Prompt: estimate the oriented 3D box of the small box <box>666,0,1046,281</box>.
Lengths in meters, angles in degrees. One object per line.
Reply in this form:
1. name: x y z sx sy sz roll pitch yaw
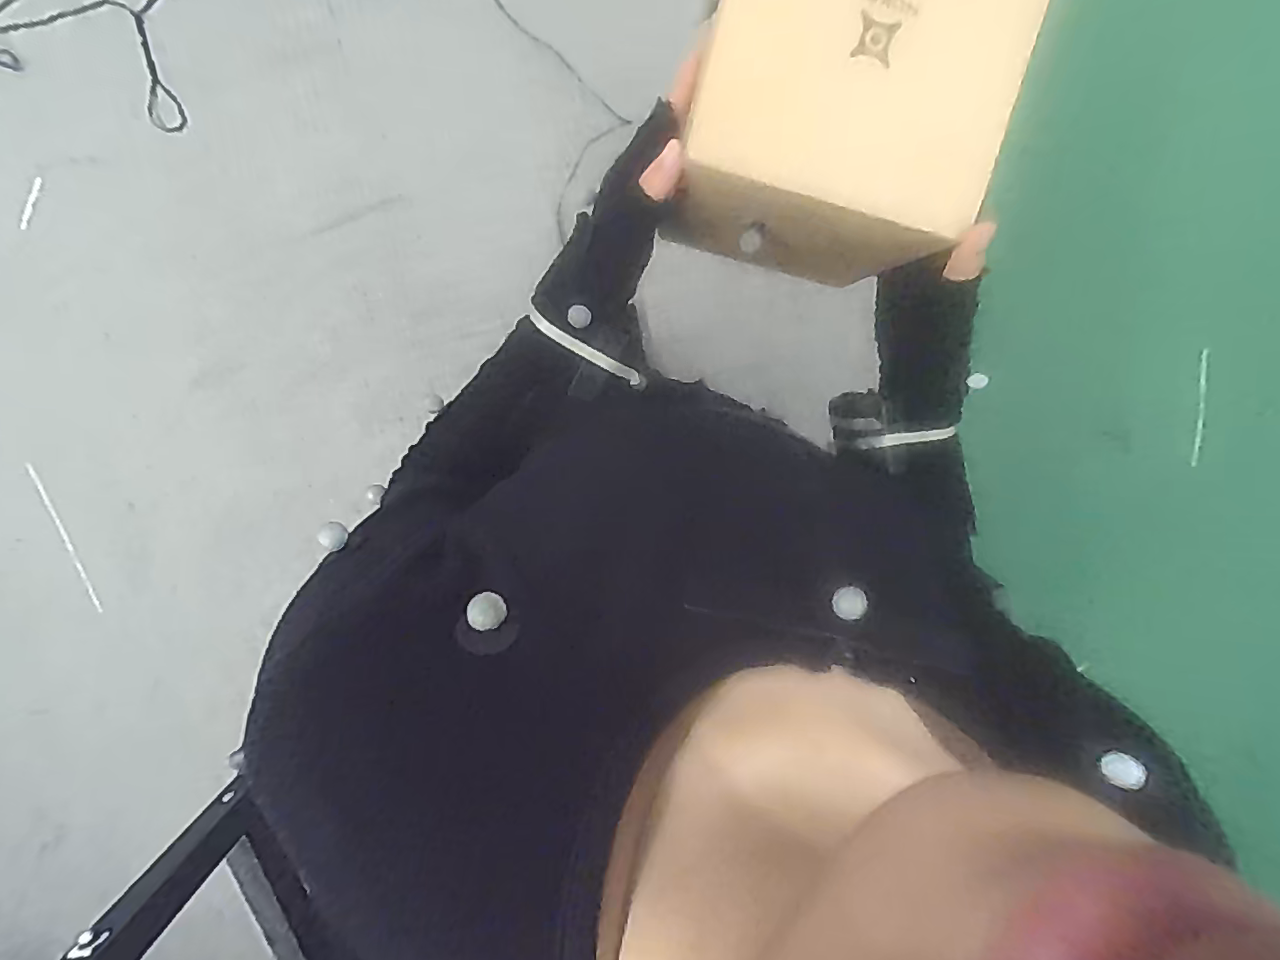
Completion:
1. small box: 0.117 -0.246 0.353 0.168 0.176 0.179 13 98 -5
